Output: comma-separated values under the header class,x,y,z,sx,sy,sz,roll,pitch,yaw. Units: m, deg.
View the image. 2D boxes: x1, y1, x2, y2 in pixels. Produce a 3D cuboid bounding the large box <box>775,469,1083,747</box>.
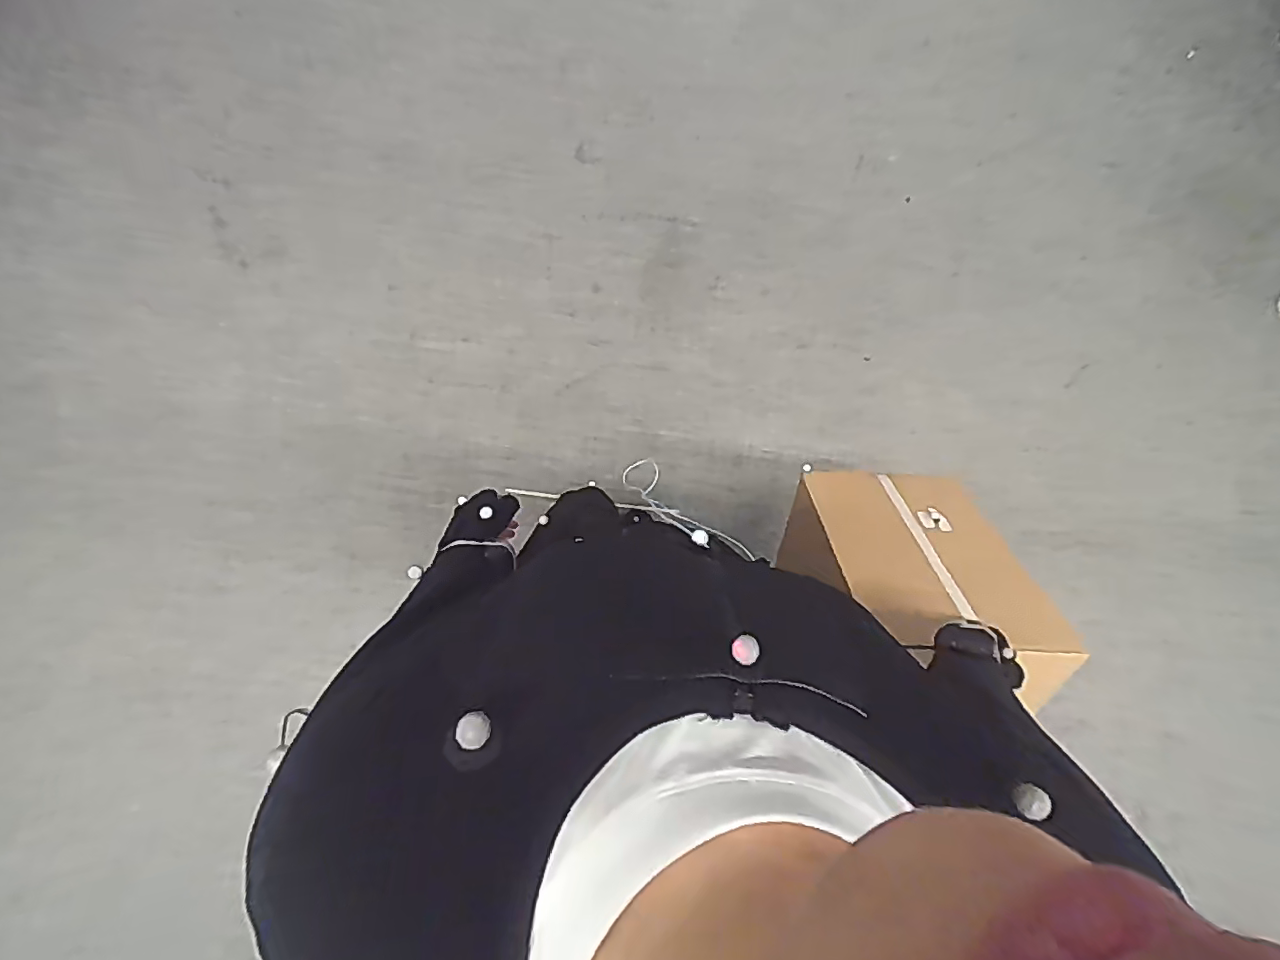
class,x,y,z,sx,sy,sz,roll,pitch,yaw
large box,0.465,0.224,0.997,0.320,0.408,0.320,3,126,-2
